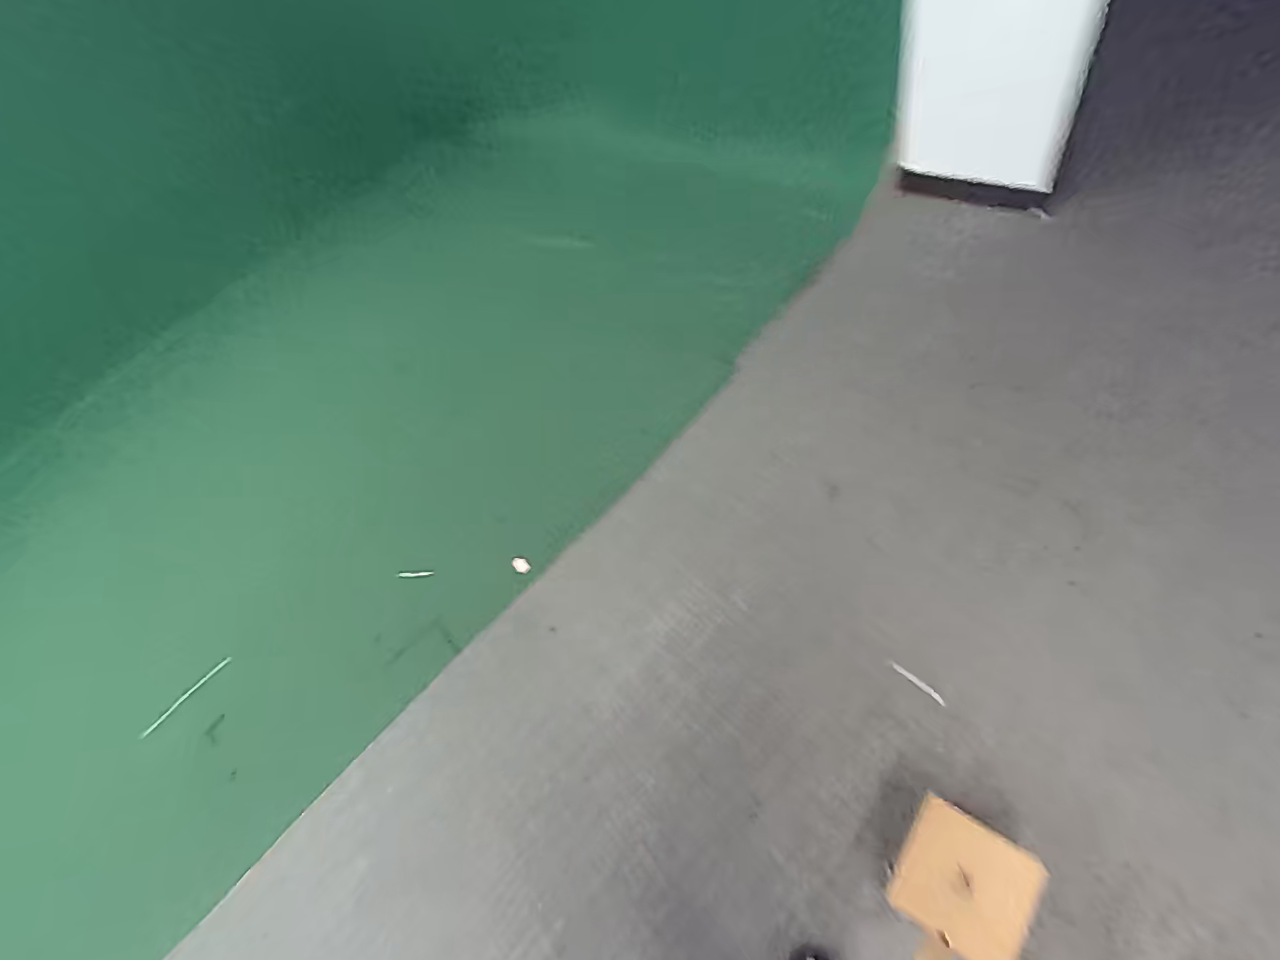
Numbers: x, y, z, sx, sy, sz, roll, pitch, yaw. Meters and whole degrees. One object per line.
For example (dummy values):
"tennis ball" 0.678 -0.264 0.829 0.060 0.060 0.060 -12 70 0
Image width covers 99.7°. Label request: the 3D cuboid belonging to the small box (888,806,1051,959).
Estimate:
"small box" 0.510 0.659 0.862 0.168 0.176 0.179 25 70 33
